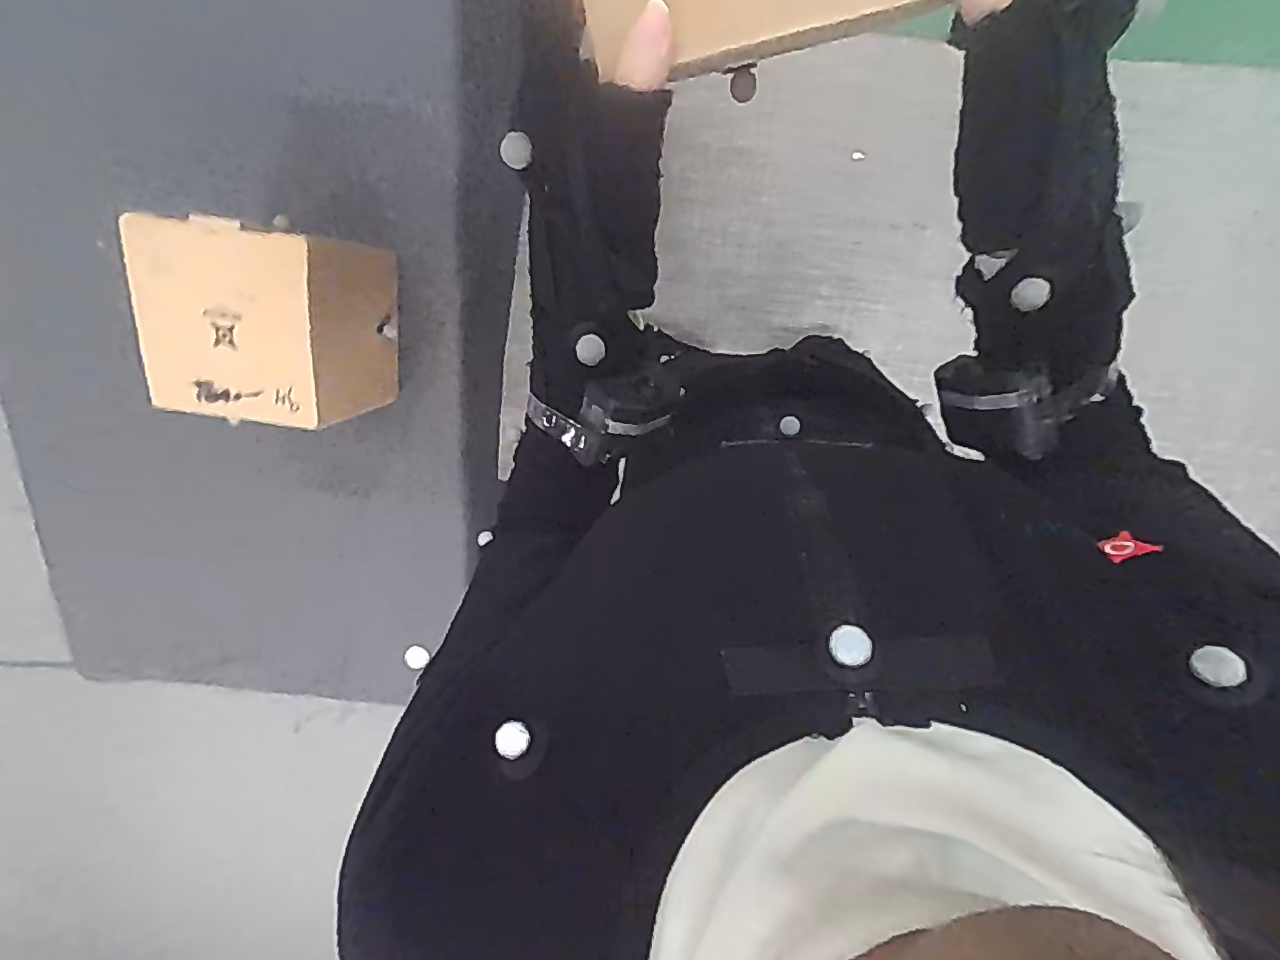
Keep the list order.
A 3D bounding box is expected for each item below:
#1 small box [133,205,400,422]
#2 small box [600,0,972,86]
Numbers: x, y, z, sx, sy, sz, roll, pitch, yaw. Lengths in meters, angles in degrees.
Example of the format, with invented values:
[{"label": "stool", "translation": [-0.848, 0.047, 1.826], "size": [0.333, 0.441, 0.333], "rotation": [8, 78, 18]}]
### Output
[{"label": "small box", "translation": [-0.375, -0.174, 0.579], "size": [0.168, 0.176, 0.179], "rotation": [8, 108, 1]}, {"label": "small box", "translation": [0.056, -0.294, 0.233], "size": [0.168, 0.176, 0.179], "rotation": [-7, 124, 8]}]
